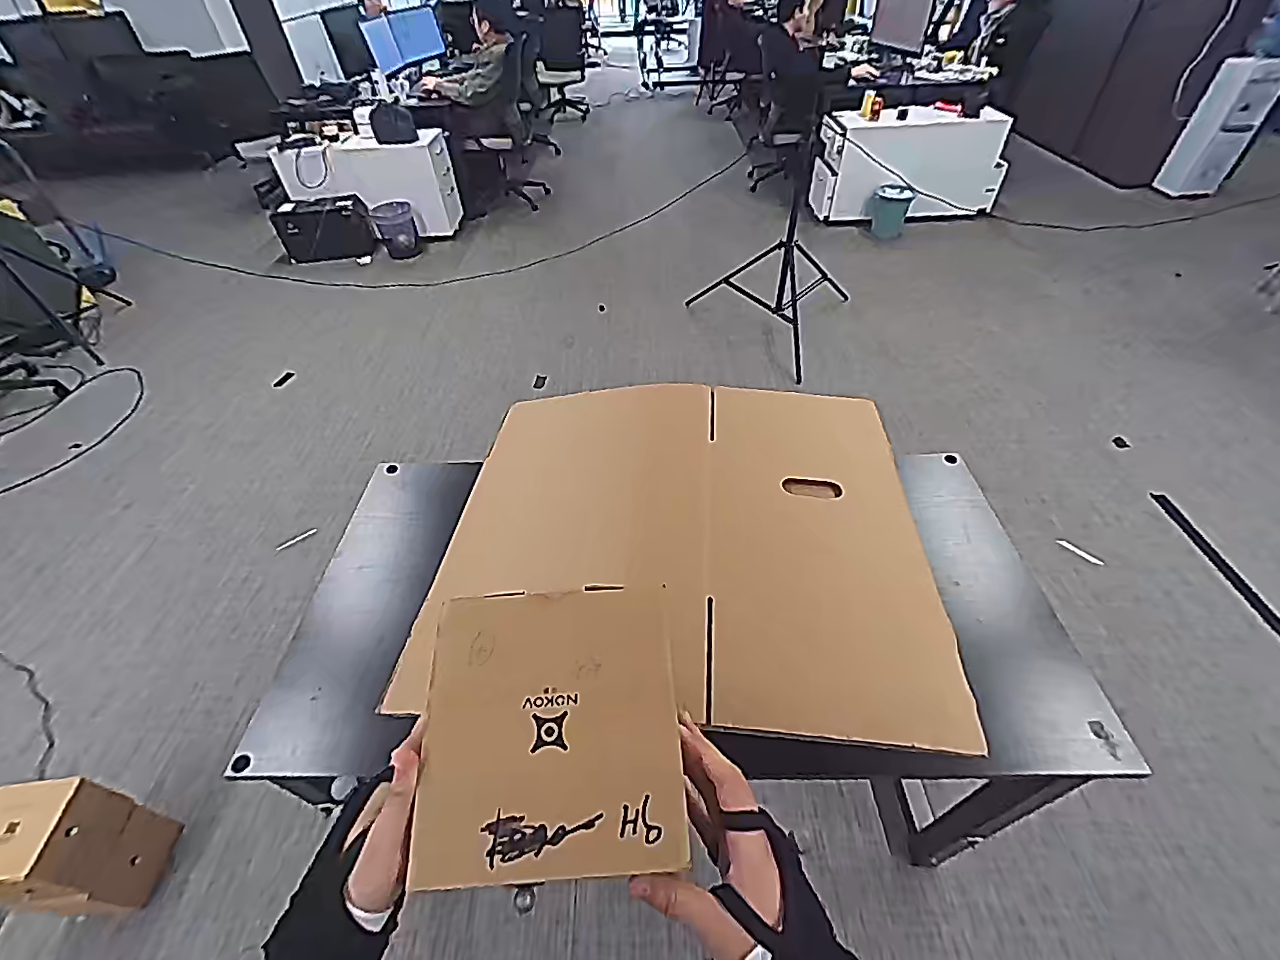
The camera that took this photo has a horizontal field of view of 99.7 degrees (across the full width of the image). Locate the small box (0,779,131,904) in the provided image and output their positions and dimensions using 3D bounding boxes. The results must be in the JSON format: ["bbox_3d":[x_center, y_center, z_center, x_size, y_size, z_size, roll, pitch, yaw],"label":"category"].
[{"bbox_3d":[-1.208,0.738,1.099,0.168,0.176,0.179,-6,44,-4],"label":"small box"}]

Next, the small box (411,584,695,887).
[{"bbox_3d":[-0.052,0.197,0.419,0.168,0.176,0.179,-4,57,0],"label":"small box"}]

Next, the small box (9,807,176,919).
[{"bbox_3d":[-1.200,0.857,1.210,0.168,0.176,0.179,-4,46,-1],"label":"small box"}]
